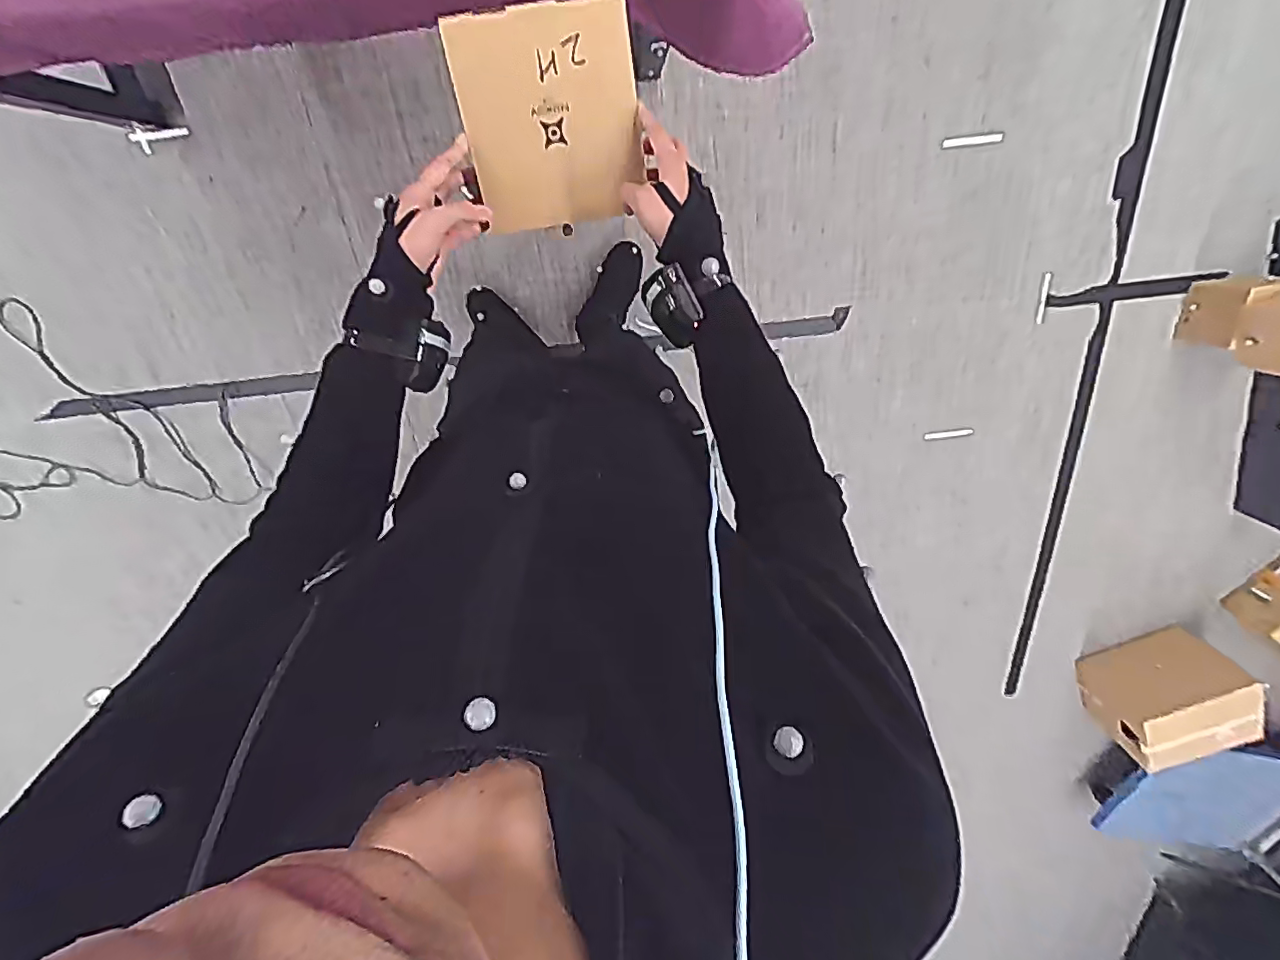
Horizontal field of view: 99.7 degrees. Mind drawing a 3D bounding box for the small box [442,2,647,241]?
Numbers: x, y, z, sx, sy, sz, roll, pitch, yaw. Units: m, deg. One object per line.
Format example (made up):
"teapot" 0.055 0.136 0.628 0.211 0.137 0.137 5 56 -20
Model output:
"small box" -0.091 -0.367 0.581 0.168 0.176 0.179 -11 117 -3
